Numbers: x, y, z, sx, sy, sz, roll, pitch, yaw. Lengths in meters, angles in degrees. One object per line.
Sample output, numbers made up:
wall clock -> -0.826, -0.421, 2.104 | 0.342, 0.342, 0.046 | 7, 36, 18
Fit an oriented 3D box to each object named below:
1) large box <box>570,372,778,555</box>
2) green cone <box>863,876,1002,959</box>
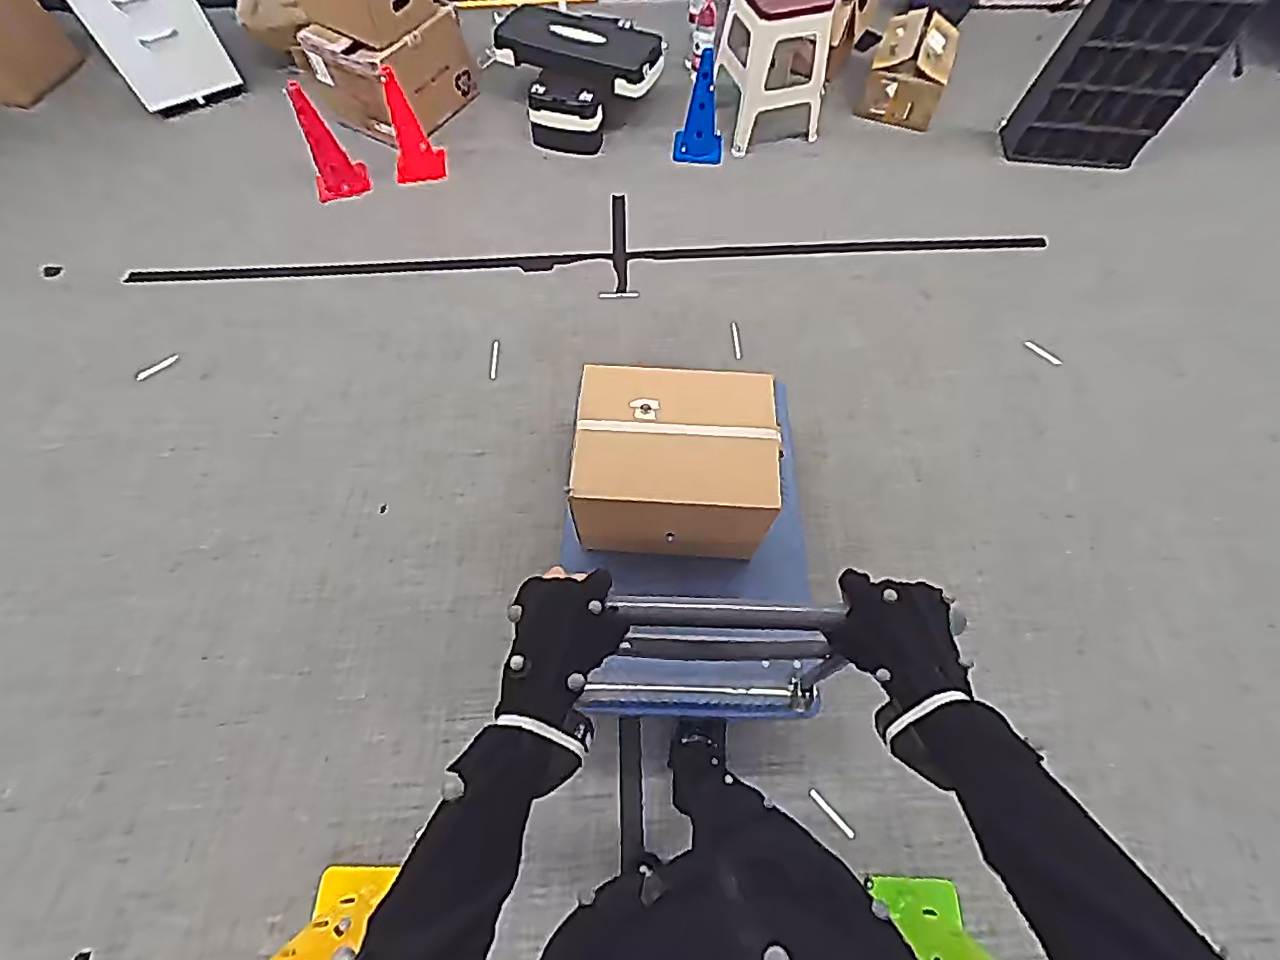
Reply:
large box -> 0.072, -0.025, 1.224 | 0.408, 0.320, 0.320 | 3, 64, 2
green cone -> 0.568, 0.851, 0.944 | 0.202, 0.368, 0.200 | 2, 63, -1
